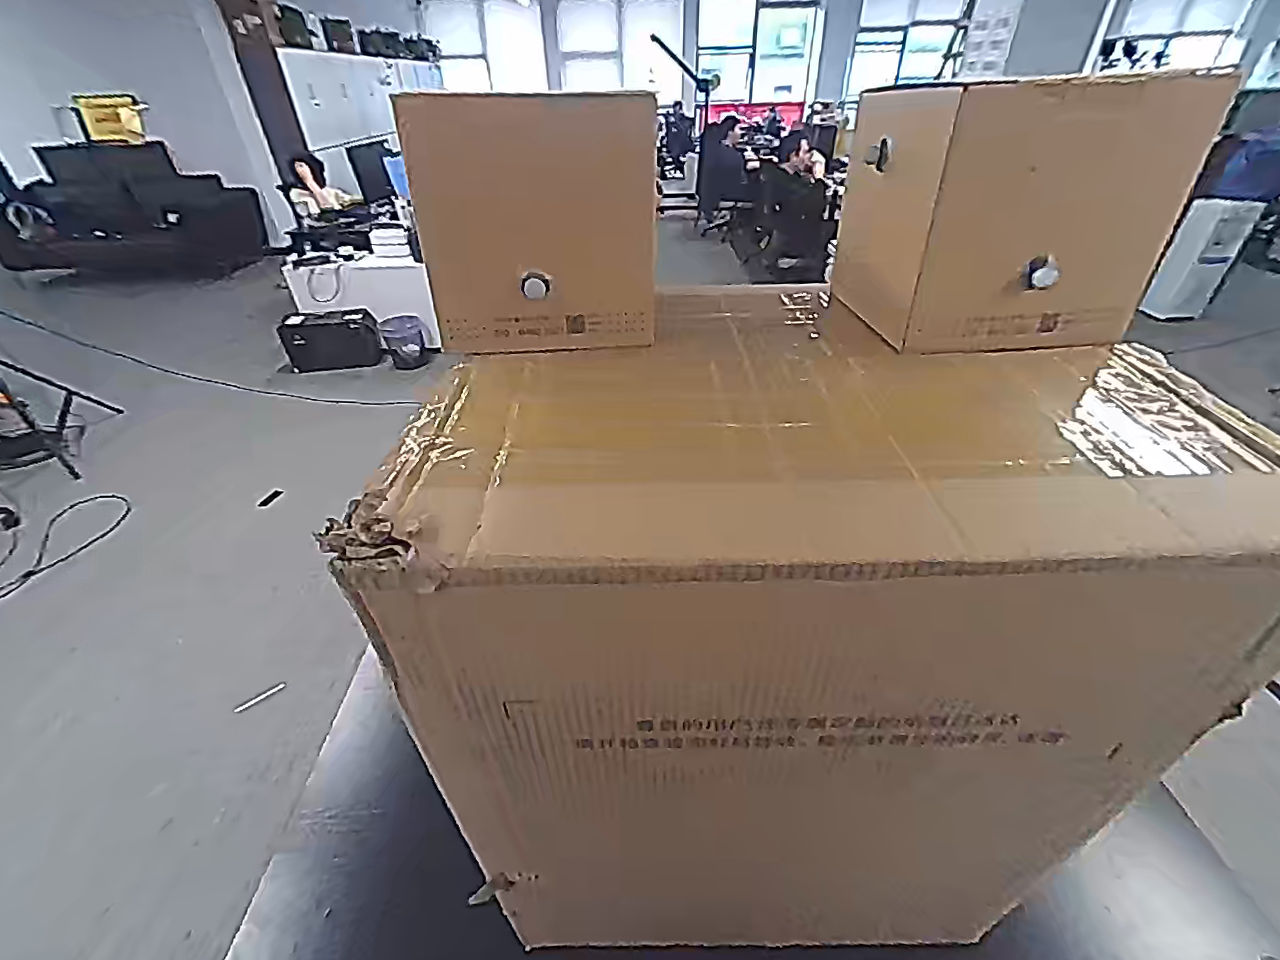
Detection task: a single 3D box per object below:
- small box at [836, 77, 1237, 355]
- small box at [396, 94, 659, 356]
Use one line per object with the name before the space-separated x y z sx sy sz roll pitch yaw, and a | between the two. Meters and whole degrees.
small box | 0.271 -0.209 0.431 0.168 0.176 0.179 -3 34 1
small box | -0.078 -0.212 0.448 0.168 0.176 0.179 -4 35 -5
